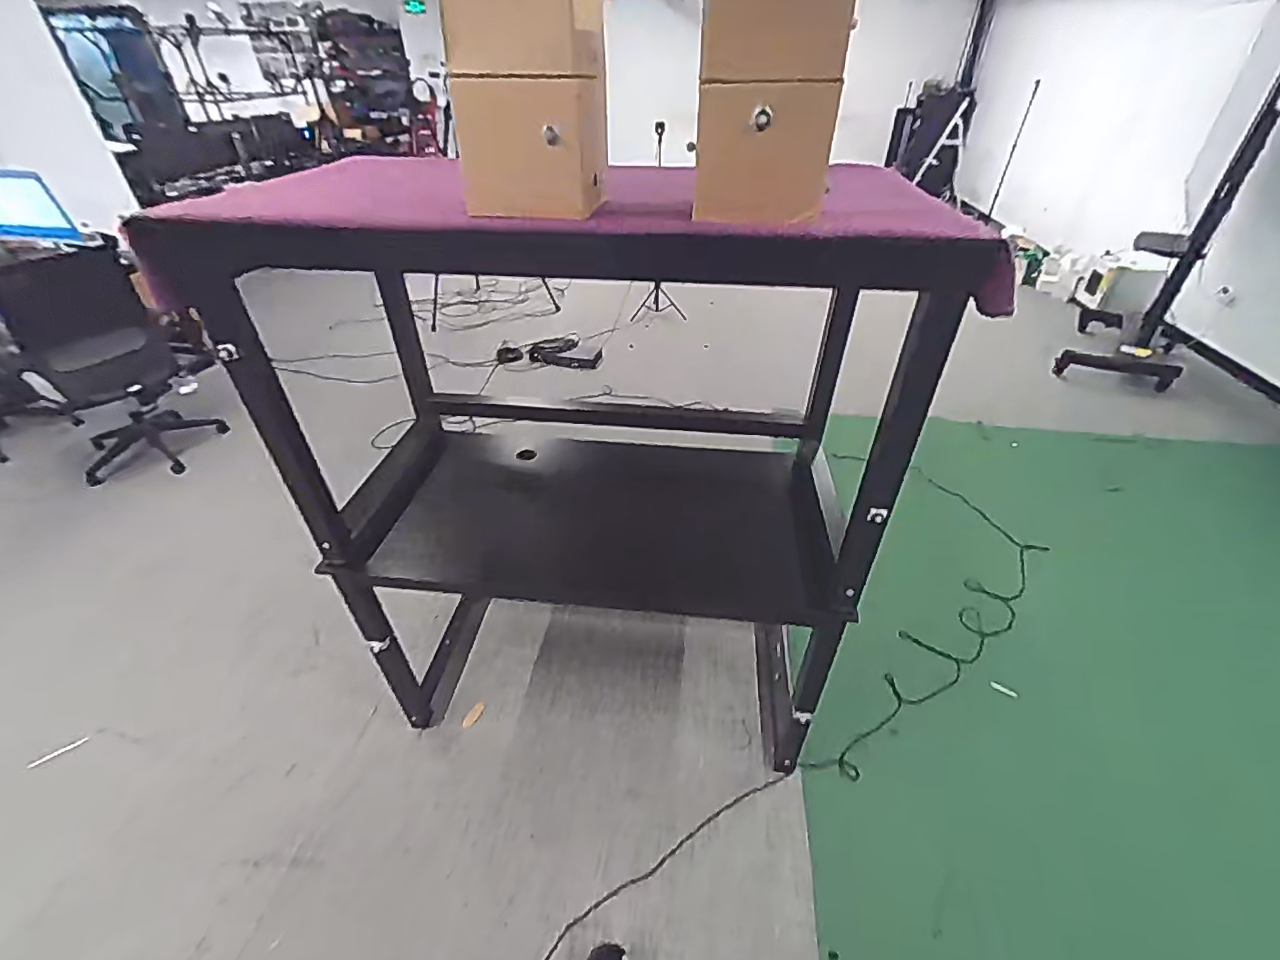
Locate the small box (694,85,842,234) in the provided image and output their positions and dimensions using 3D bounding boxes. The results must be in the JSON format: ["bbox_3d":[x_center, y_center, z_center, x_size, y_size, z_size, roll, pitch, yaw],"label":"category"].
[{"bbox_3d":[0.172,-0.457,0.766,0.179,0.176,0.168,6,39,8],"label":"small box"}]

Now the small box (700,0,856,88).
[{"bbox_3d":[0.169,-0.585,0.667,0.179,0.176,0.168,6,39,8],"label":"small box"}]

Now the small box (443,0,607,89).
[{"bbox_3d":[-0.146,-0.615,0.701,0.179,0.176,0.168,5,37,7],"label":"small box"}]
